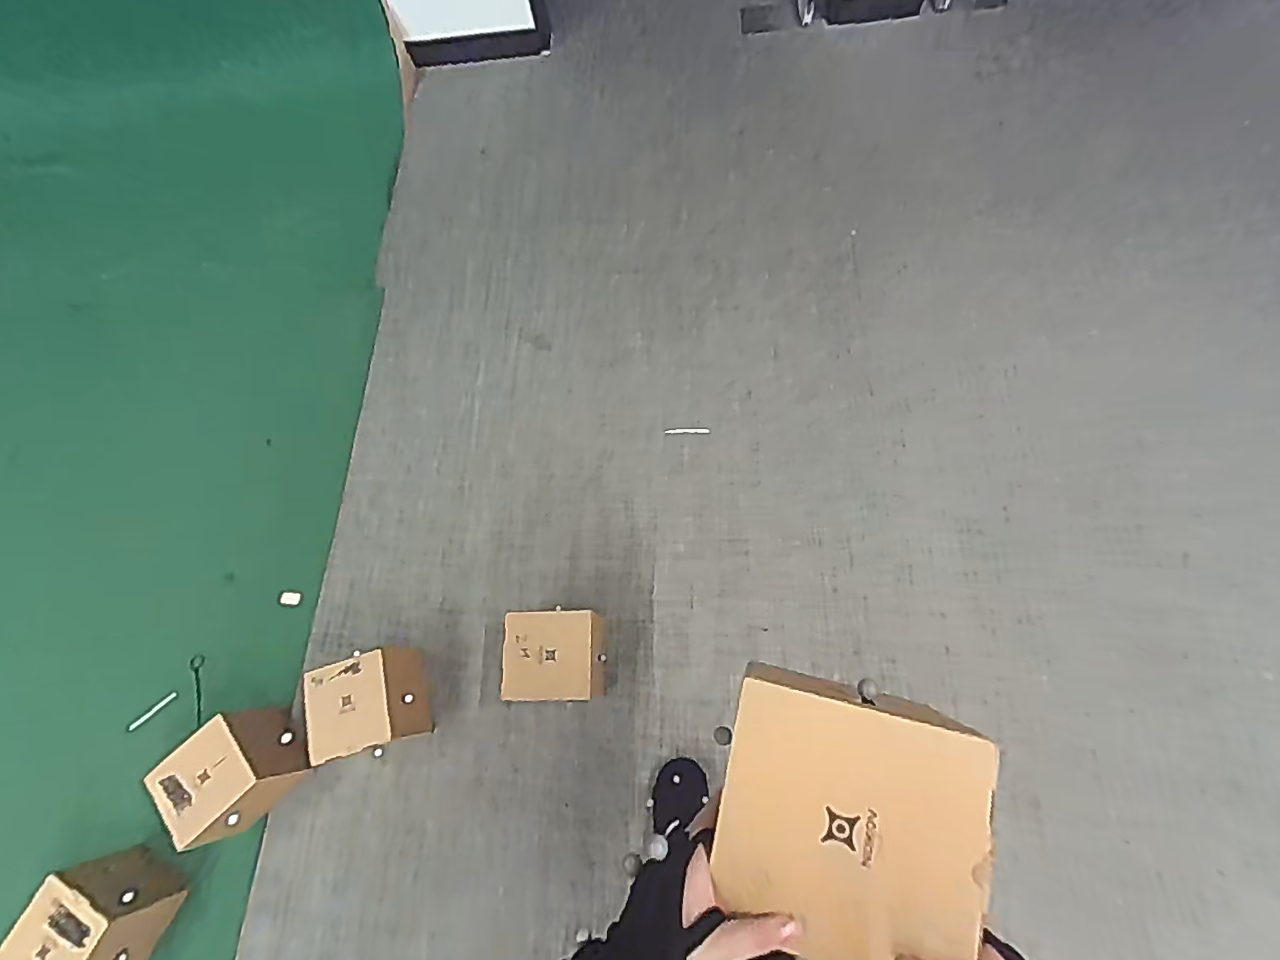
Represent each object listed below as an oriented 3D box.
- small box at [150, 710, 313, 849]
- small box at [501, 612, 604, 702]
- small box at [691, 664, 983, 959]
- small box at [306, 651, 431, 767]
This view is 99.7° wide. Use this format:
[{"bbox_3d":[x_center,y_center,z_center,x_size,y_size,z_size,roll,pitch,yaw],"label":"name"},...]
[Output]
[{"bbox_3d":[-0.823,0.599,1.105,0.179,0.176,0.168,-43,71,-10],"label":"small box"},{"bbox_3d":[-0.171,0.364,1.114,0.179,0.176,0.168,-3,70,5],"label":"small box"},{"bbox_3d":[0.152,0.258,0.453,0.179,0.176,0.168,11,78,14],"label":"small box"},{"bbox_3d":[-0.555,0.465,1.122,0.168,0.176,0.179,-18,70,0],"label":"small box"}]
